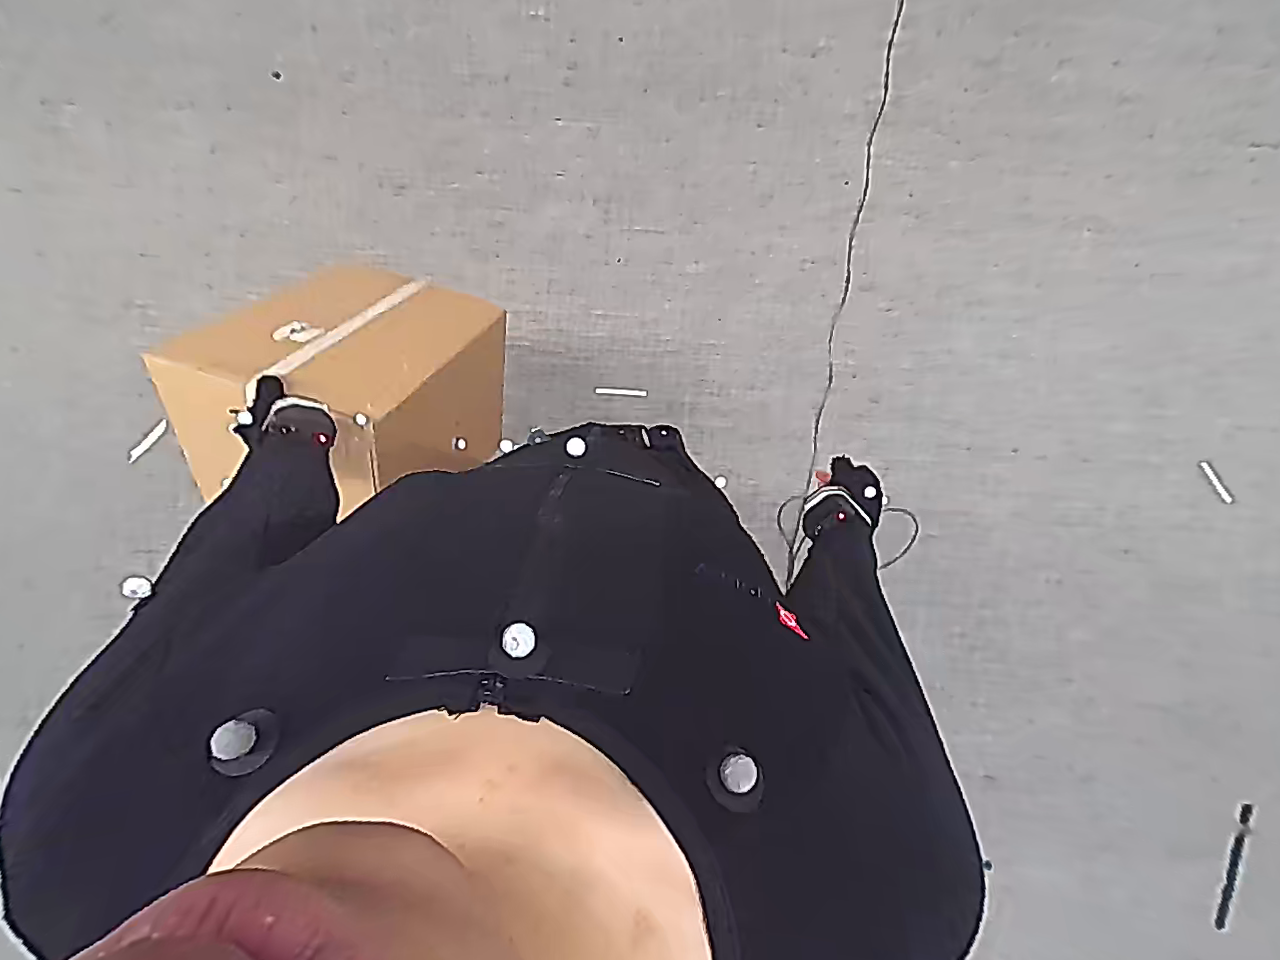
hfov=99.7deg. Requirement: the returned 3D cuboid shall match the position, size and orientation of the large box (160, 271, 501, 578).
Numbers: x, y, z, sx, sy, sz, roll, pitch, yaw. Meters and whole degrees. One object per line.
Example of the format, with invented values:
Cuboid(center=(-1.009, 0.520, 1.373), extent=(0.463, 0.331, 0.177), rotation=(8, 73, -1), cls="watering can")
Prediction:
Cuboid(center=(-0.467, -0.111, 0.937), extent=(0.320, 0.408, 0.320), rotation=(17, 130, 4), cls="large box")
